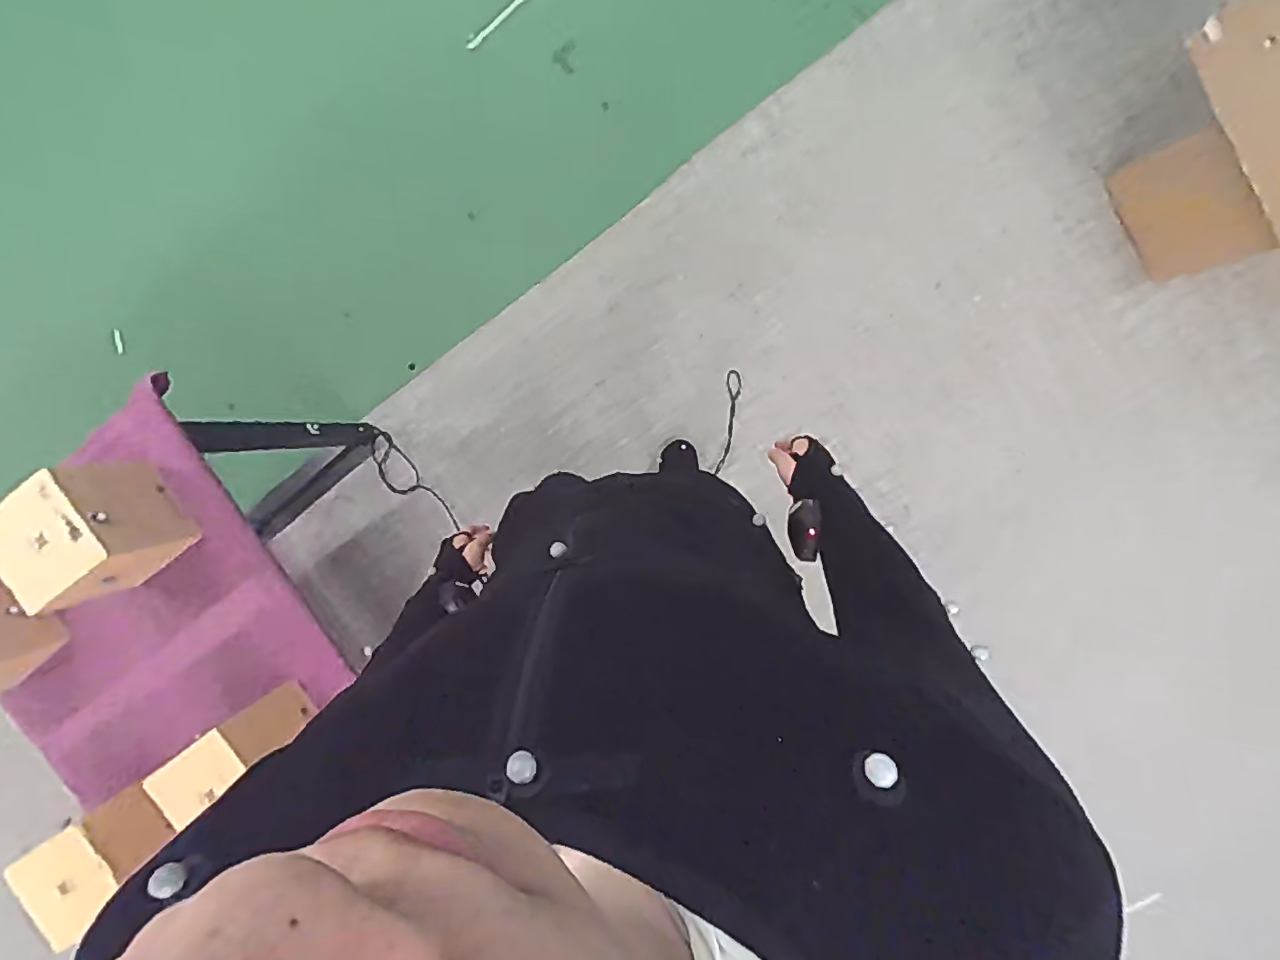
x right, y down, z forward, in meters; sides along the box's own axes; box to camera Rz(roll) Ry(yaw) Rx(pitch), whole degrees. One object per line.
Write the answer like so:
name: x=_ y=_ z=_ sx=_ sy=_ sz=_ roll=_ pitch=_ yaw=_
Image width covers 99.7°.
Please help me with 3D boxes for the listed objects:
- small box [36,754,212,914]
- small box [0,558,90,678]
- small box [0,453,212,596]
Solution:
small box: x=-0.929 y=0.638 z=1.009 sx=0.179 sy=0.176 sz=0.168 roll=-34 pitch=91 yaw=8
small box: x=-1.197 y=0.269 z=0.996 sx=0.179 sy=0.176 sz=0.168 roll=-37 pitch=94 yaw=9
small box: x=-0.909 y=0.068 z=0.937 sx=0.179 sy=0.176 sz=0.168 roll=-34 pitch=93 yaw=9
